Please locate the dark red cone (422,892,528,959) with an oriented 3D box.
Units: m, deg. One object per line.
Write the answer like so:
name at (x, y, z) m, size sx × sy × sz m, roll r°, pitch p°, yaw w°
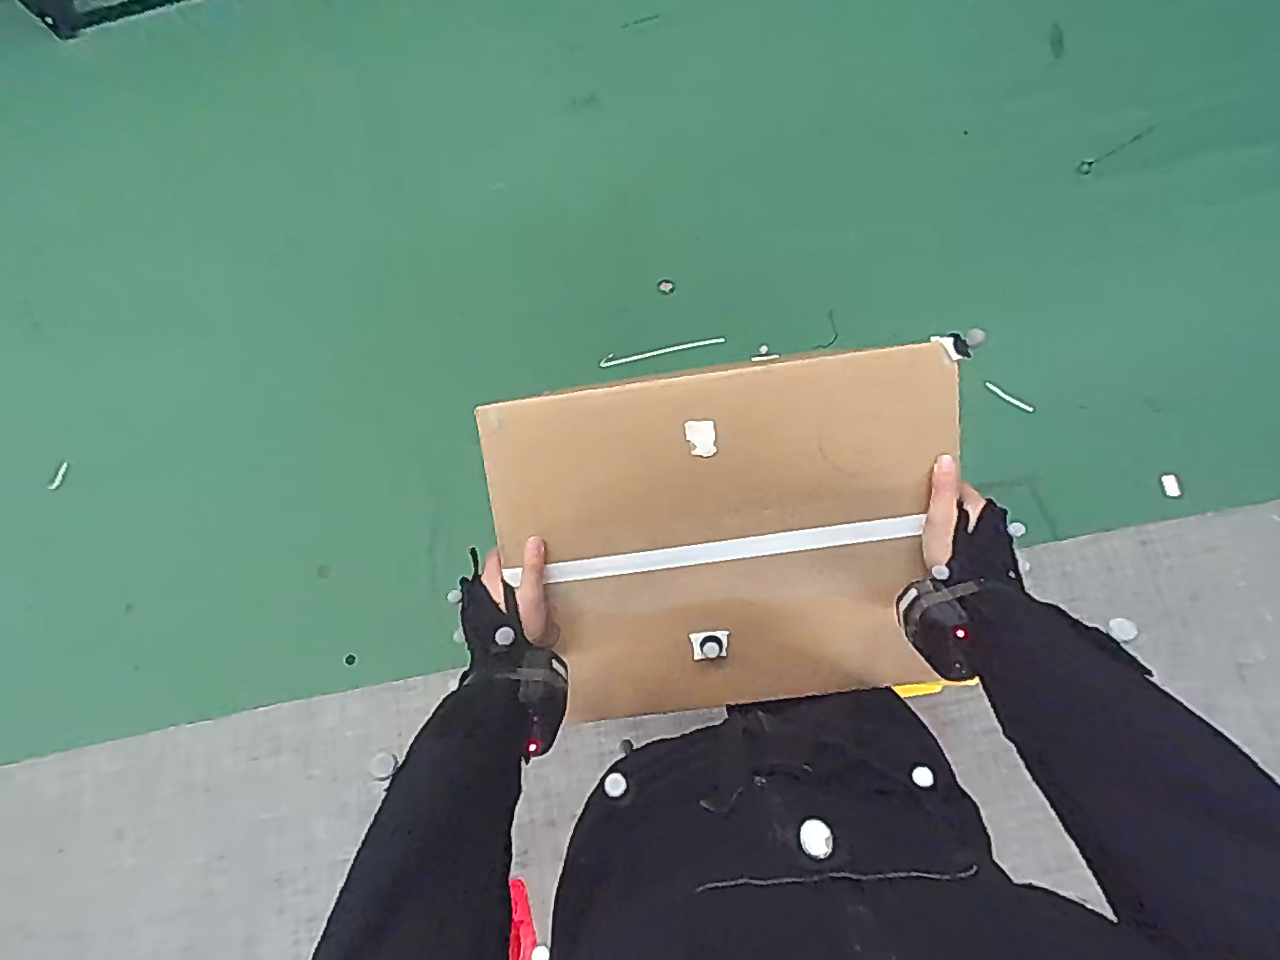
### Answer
dark red cone at (-0.336, 0.893, 0.901) m, size 0.202 × 0.394 × 0.201 m, roll -20°, pitch 73°, yaw 1°
